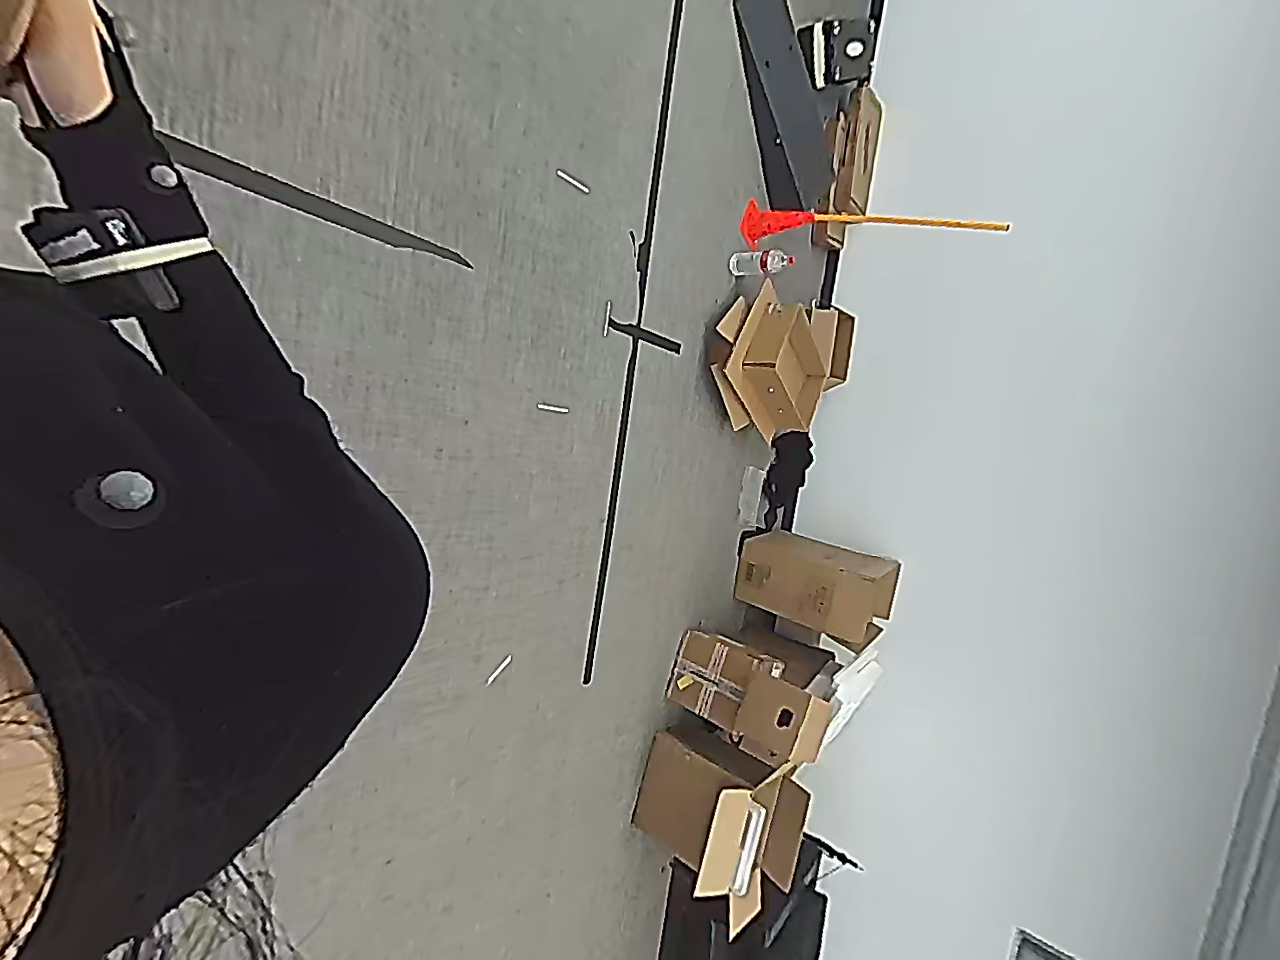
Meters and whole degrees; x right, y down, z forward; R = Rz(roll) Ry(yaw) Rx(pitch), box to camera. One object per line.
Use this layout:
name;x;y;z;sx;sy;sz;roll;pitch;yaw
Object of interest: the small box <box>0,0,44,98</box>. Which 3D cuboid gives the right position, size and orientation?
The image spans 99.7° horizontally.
small box;-0.361;-0.284;0.199;0.168;0.176;0.179;-13;106;-53
